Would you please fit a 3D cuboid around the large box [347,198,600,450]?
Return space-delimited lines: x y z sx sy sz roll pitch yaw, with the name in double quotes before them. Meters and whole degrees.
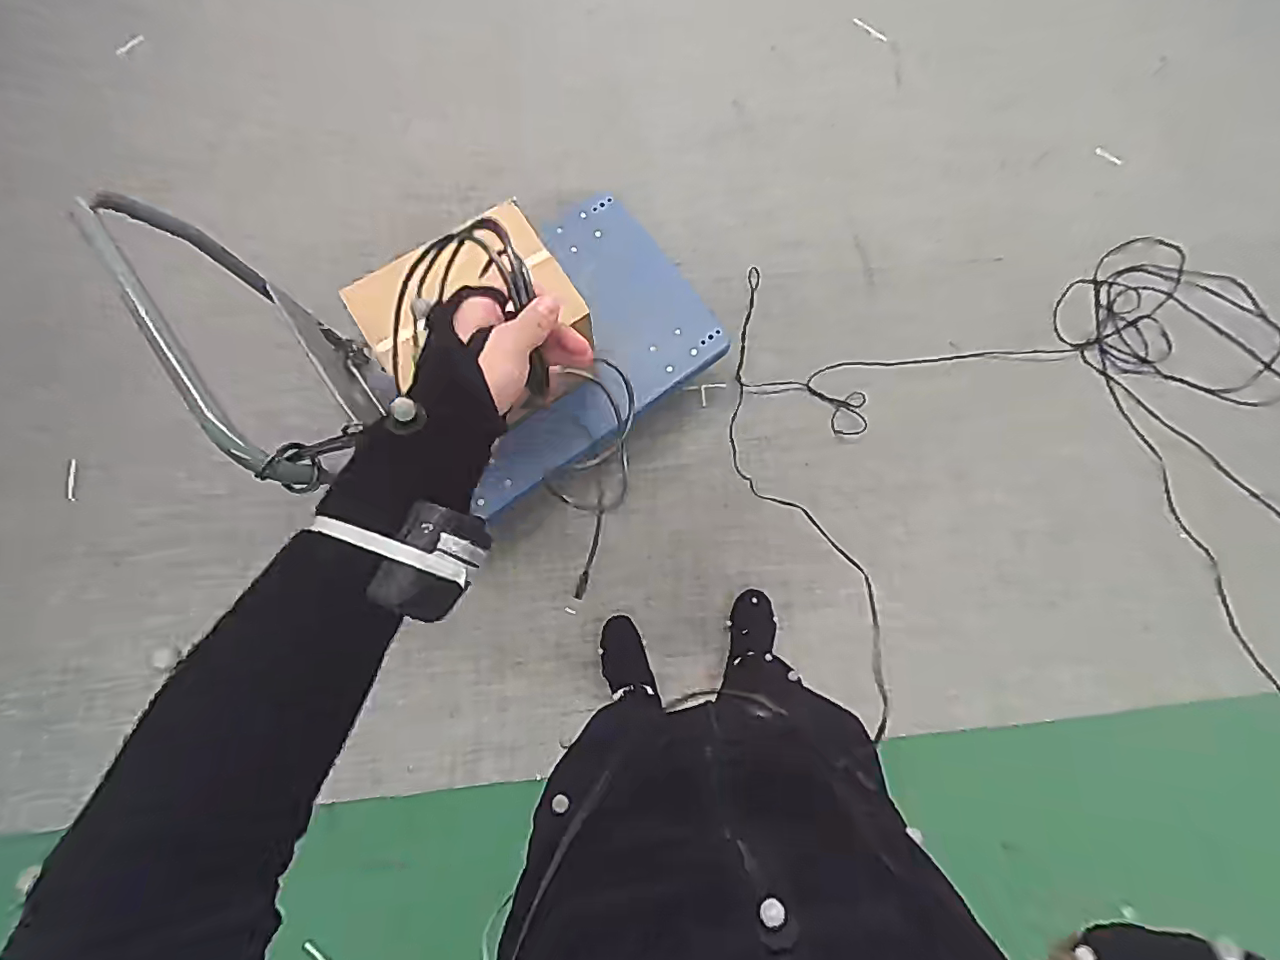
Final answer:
"large box" -0.341 -0.326 1.217 0.408 0.320 0.320 -33 82 -8
